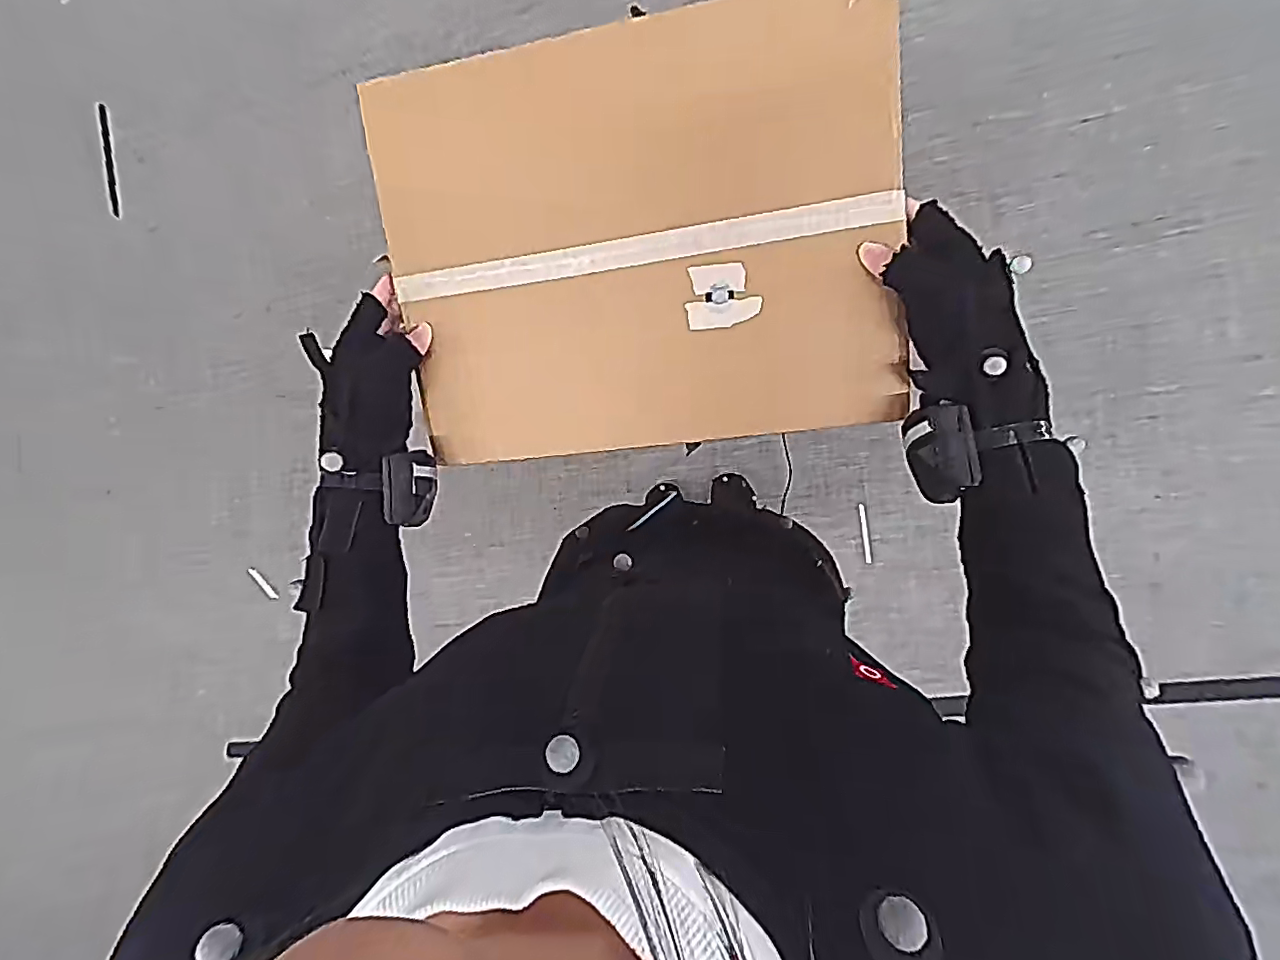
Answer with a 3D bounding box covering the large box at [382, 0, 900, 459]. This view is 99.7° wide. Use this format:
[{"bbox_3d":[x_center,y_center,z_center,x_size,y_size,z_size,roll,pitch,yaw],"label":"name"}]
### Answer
[{"bbox_3d":[0.017,-0.219,0.587,0.408,0.320,0.320,-5,102,10],"label":"large box"}]
